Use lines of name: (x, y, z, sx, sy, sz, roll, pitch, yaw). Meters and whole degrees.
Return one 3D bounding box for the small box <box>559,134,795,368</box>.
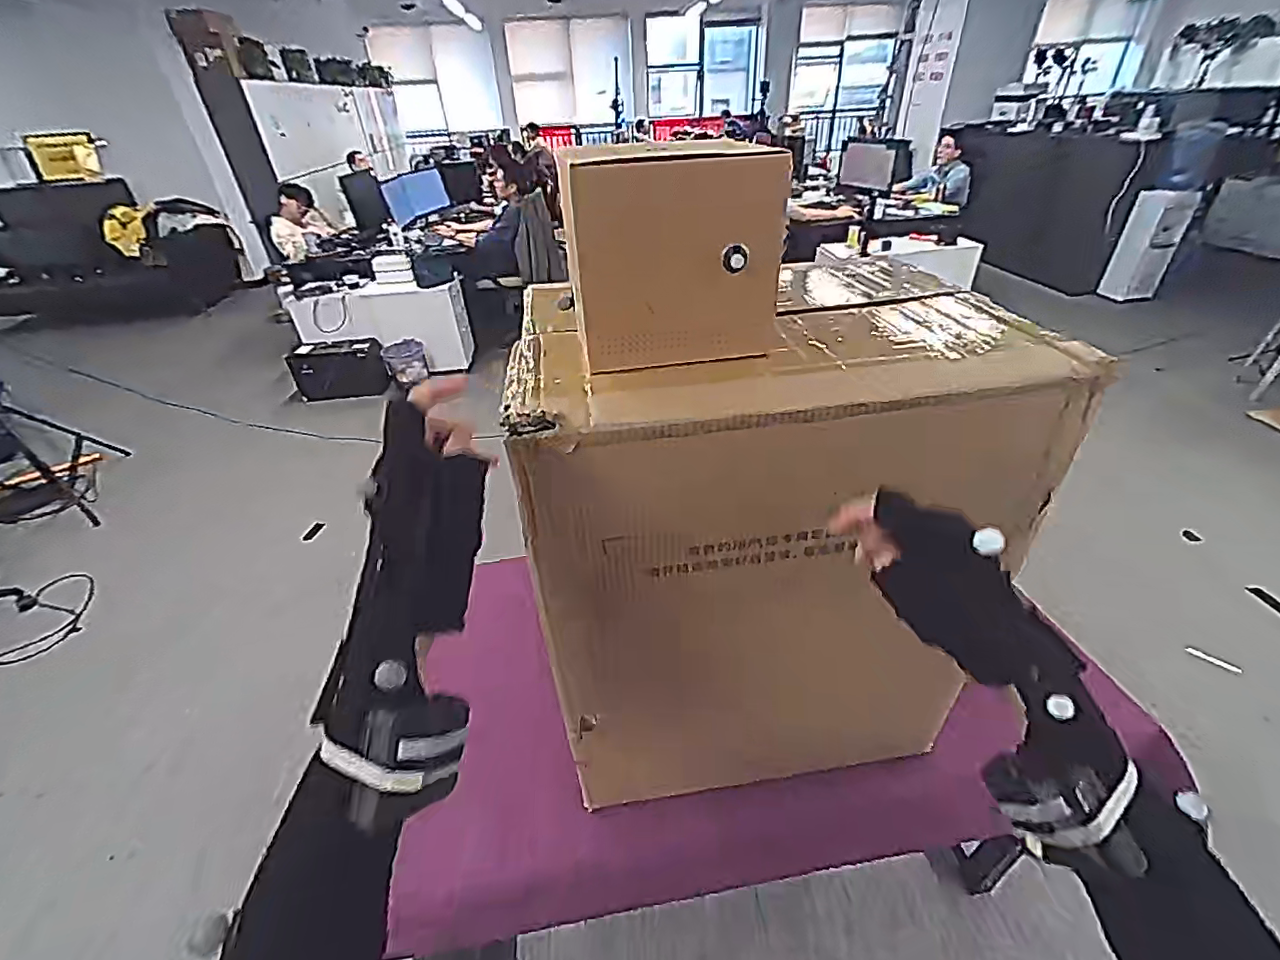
small box: (0.024, -0.220, 0.512, 0.179, 0.176, 0.168, -9, 35, -8)
